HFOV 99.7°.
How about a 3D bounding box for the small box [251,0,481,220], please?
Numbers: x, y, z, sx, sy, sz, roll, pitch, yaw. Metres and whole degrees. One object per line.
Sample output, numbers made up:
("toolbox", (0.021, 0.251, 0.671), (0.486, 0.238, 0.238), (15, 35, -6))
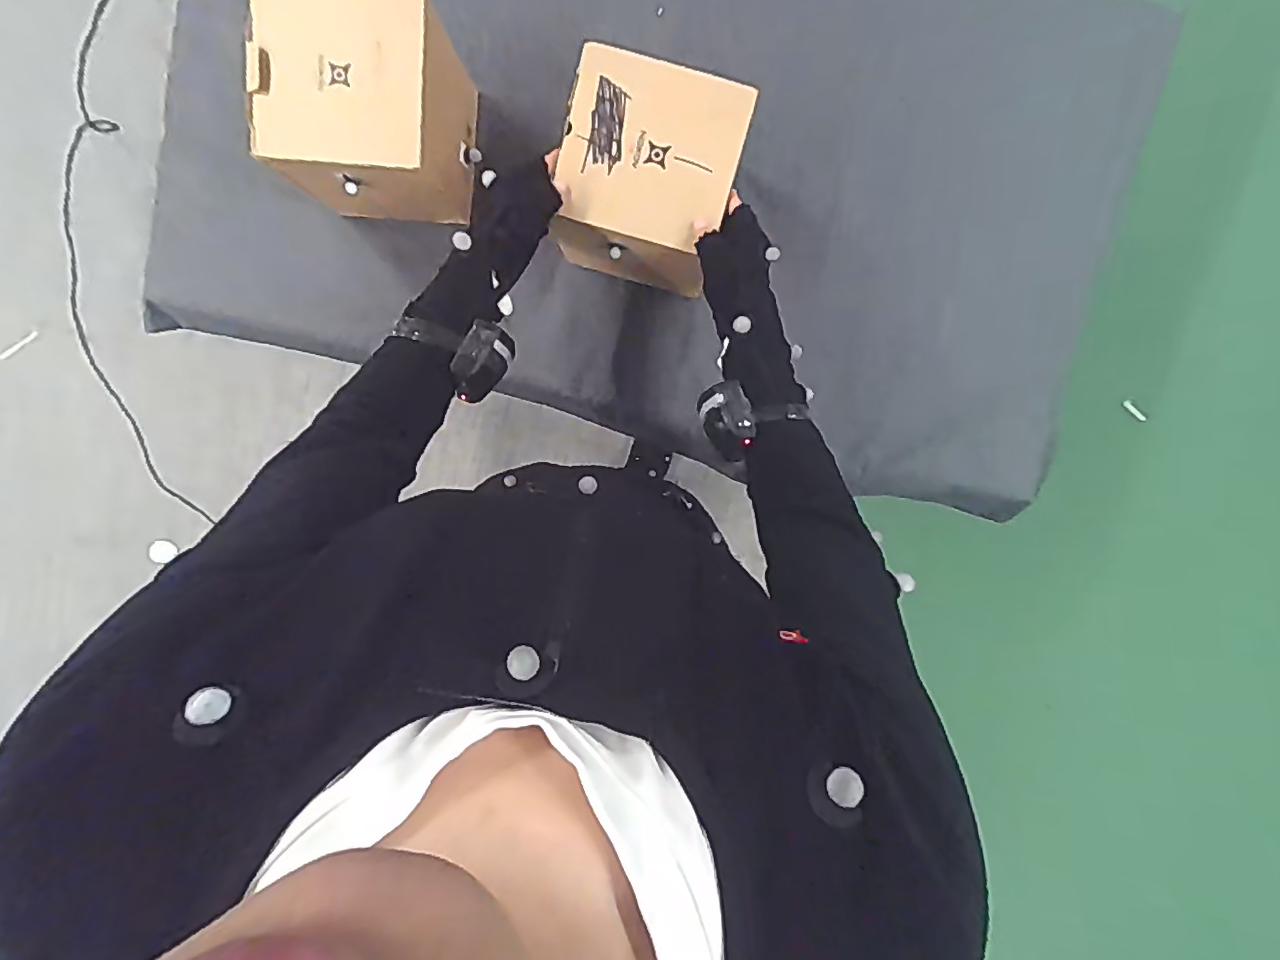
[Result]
("small box", (-0.296, -0.412, 0.612), (0.179, 0.176, 0.168), (5, 98, 0))

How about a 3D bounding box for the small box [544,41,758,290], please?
("small box", (0.010, -0.330, 0.607), (0.179, 0.176, 0.168), (16, 96, -1))
